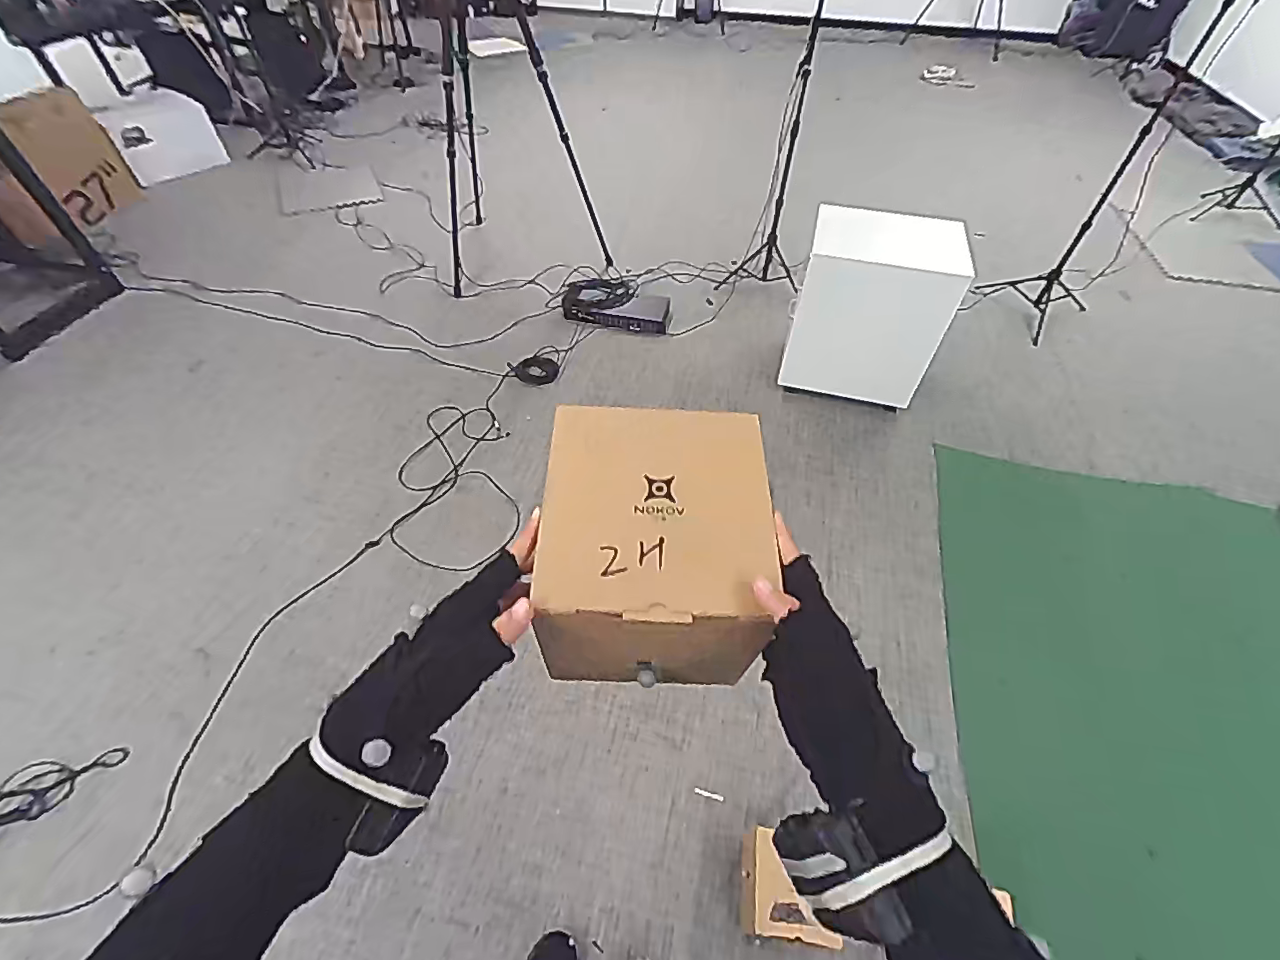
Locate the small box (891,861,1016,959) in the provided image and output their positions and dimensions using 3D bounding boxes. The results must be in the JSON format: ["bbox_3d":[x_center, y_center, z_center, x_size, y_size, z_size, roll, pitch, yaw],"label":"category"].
[{"bbox_3d":[0.621,0.901,1.089,0.168,0.176,0.179,12,51,9],"label":"small box"}]

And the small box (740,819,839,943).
[{"bbox_3d":[0.306,0.837,1.130,0.168,0.176,0.179,8,50,5],"label":"small box"}]
